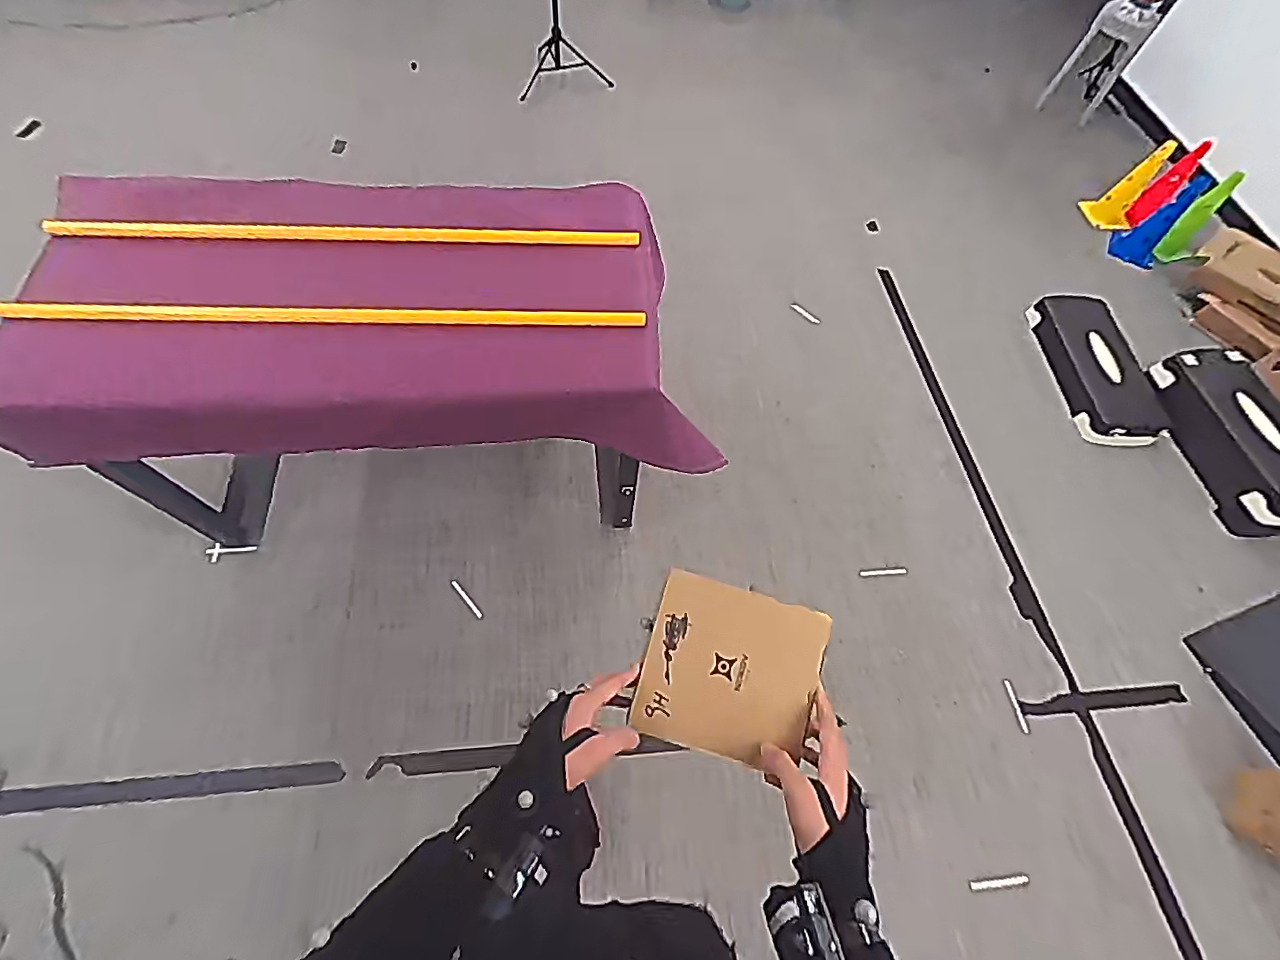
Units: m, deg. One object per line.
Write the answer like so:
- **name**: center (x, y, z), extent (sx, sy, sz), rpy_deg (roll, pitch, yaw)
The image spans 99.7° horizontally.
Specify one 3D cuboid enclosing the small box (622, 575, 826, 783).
- **small box**: center (0.089, 0.214, 0.632), extent (0.179, 0.176, 0.168), rpy_deg (17, 80, 4)
